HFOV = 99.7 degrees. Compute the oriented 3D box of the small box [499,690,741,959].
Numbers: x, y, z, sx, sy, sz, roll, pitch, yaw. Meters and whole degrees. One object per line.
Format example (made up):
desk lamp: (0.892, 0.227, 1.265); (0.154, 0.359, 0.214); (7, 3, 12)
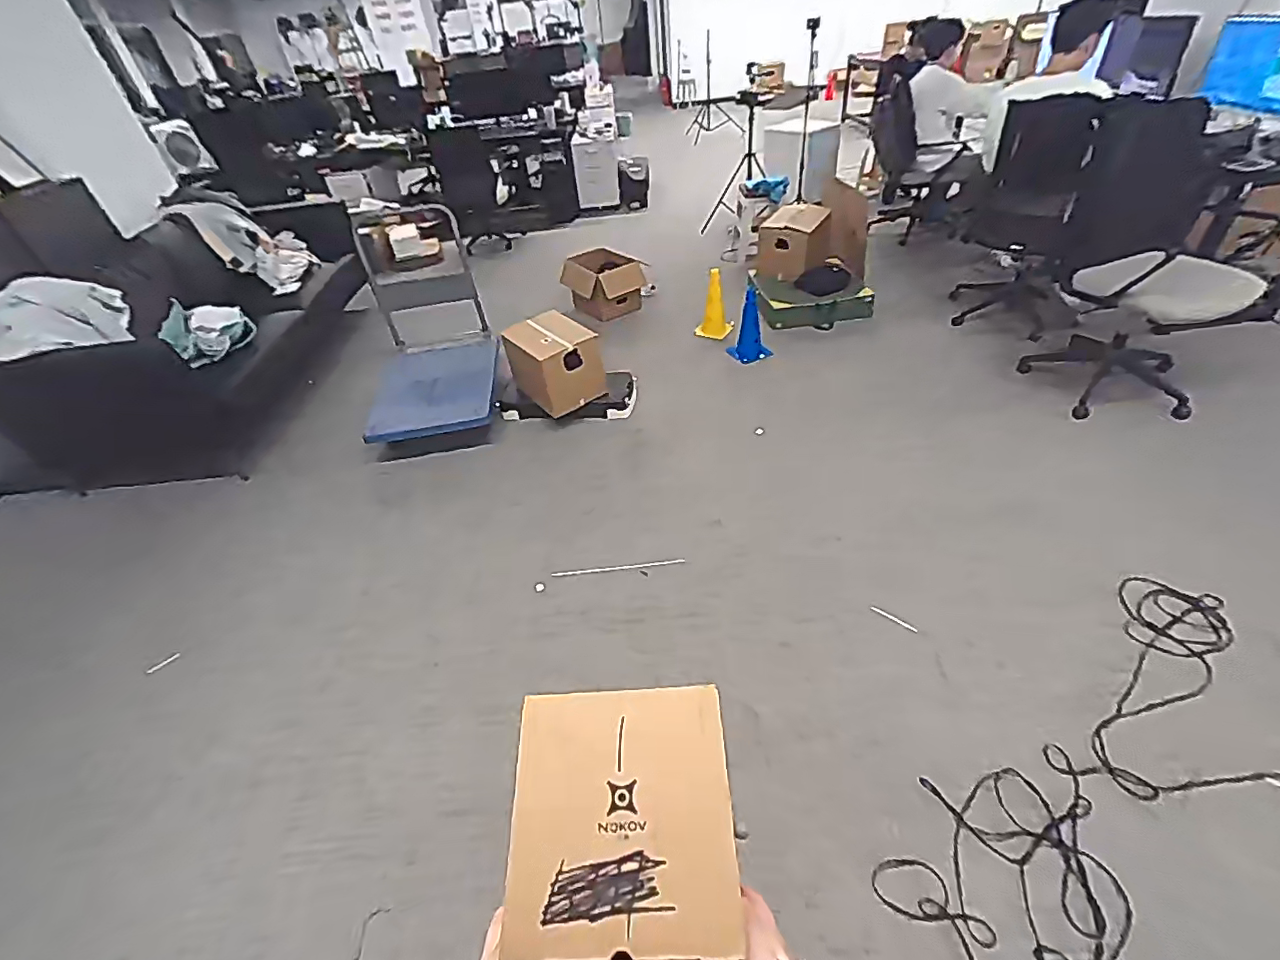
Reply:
small box: (-0.007, 0.295, 0.464); (0.168, 0.176, 0.179); (-4, 53, 3)
